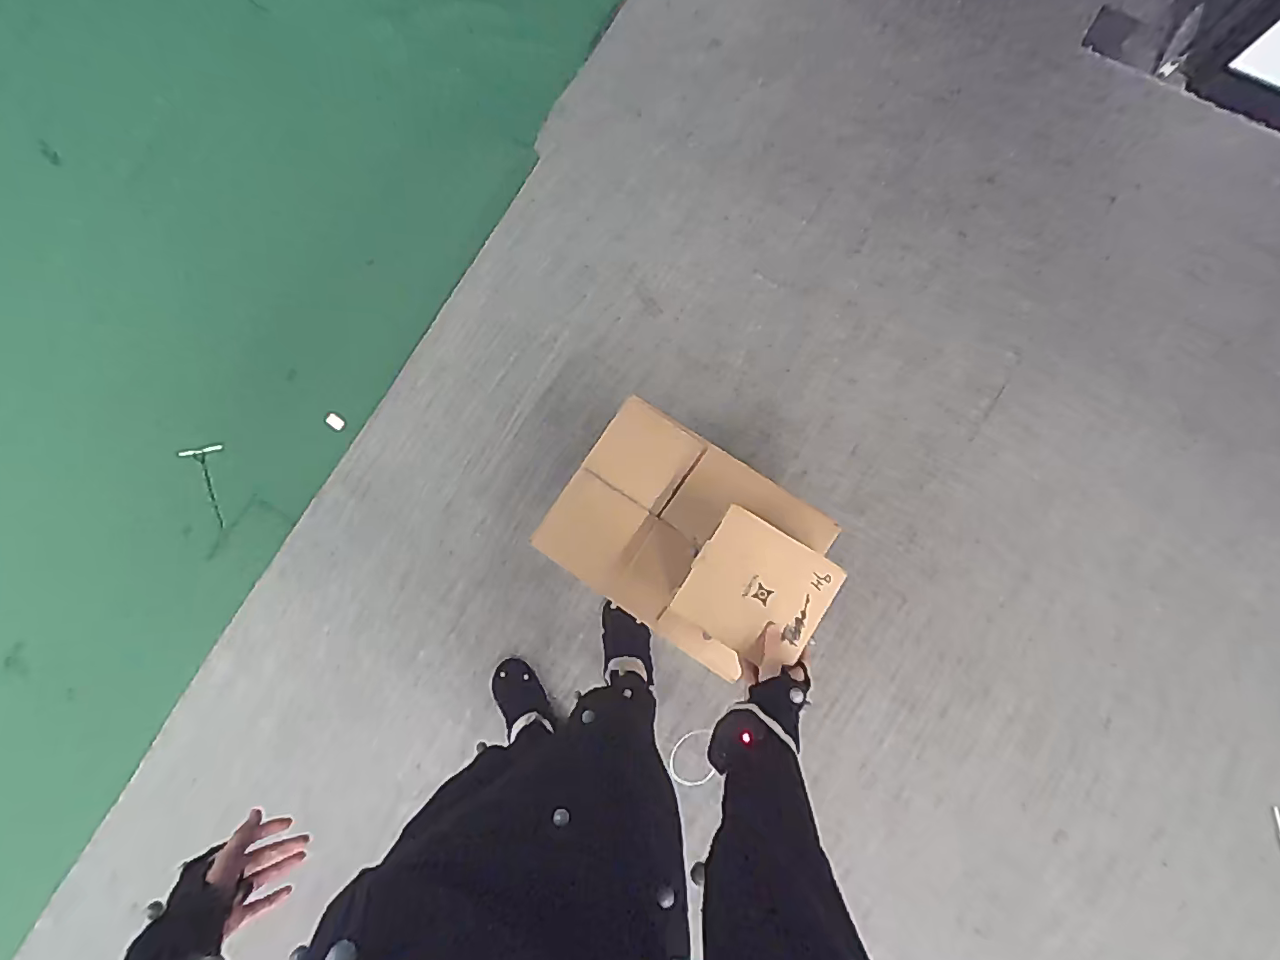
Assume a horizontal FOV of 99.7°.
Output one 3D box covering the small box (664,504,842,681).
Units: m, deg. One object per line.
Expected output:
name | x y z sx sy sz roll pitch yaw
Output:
small box | 0.153 0.157 0.779 0.179 0.176 0.168 32 85 10
